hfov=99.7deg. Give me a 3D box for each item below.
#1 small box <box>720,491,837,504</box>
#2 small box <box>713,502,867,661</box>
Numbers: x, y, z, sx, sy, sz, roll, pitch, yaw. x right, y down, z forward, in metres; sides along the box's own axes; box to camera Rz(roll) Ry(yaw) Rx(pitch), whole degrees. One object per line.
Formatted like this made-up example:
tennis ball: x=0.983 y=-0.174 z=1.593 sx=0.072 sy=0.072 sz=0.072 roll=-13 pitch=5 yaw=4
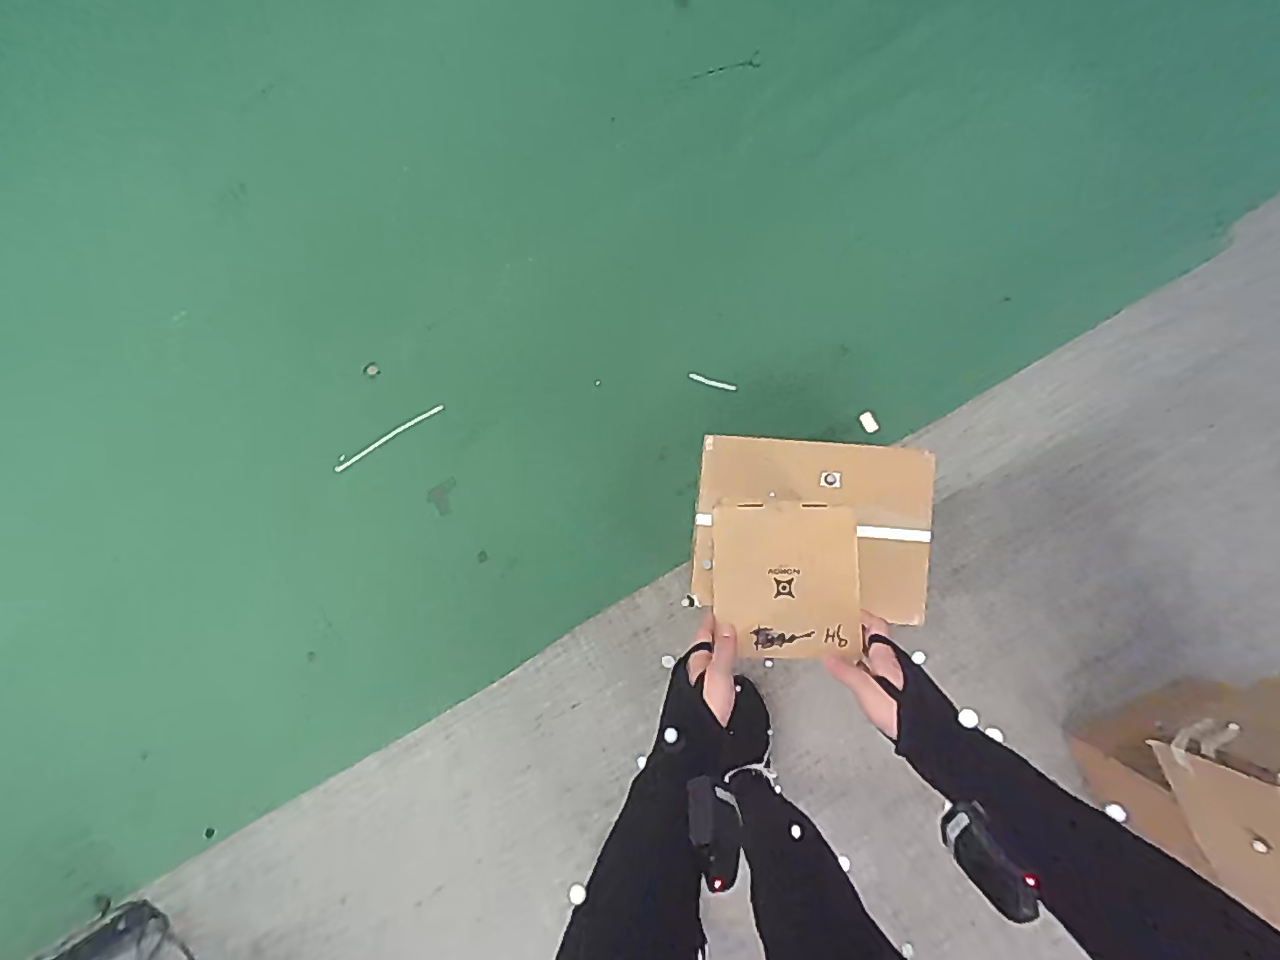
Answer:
small box: x=0.209 y=0.115 z=0.872 sx=0.168 sy=0.176 sz=0.179 roll=4 pitch=86 yaw=5
small box: x=0.178 y=0.126 z=0.690 sx=0.168 sy=0.176 sz=0.179 roll=-1 pitch=81 yaw=8
